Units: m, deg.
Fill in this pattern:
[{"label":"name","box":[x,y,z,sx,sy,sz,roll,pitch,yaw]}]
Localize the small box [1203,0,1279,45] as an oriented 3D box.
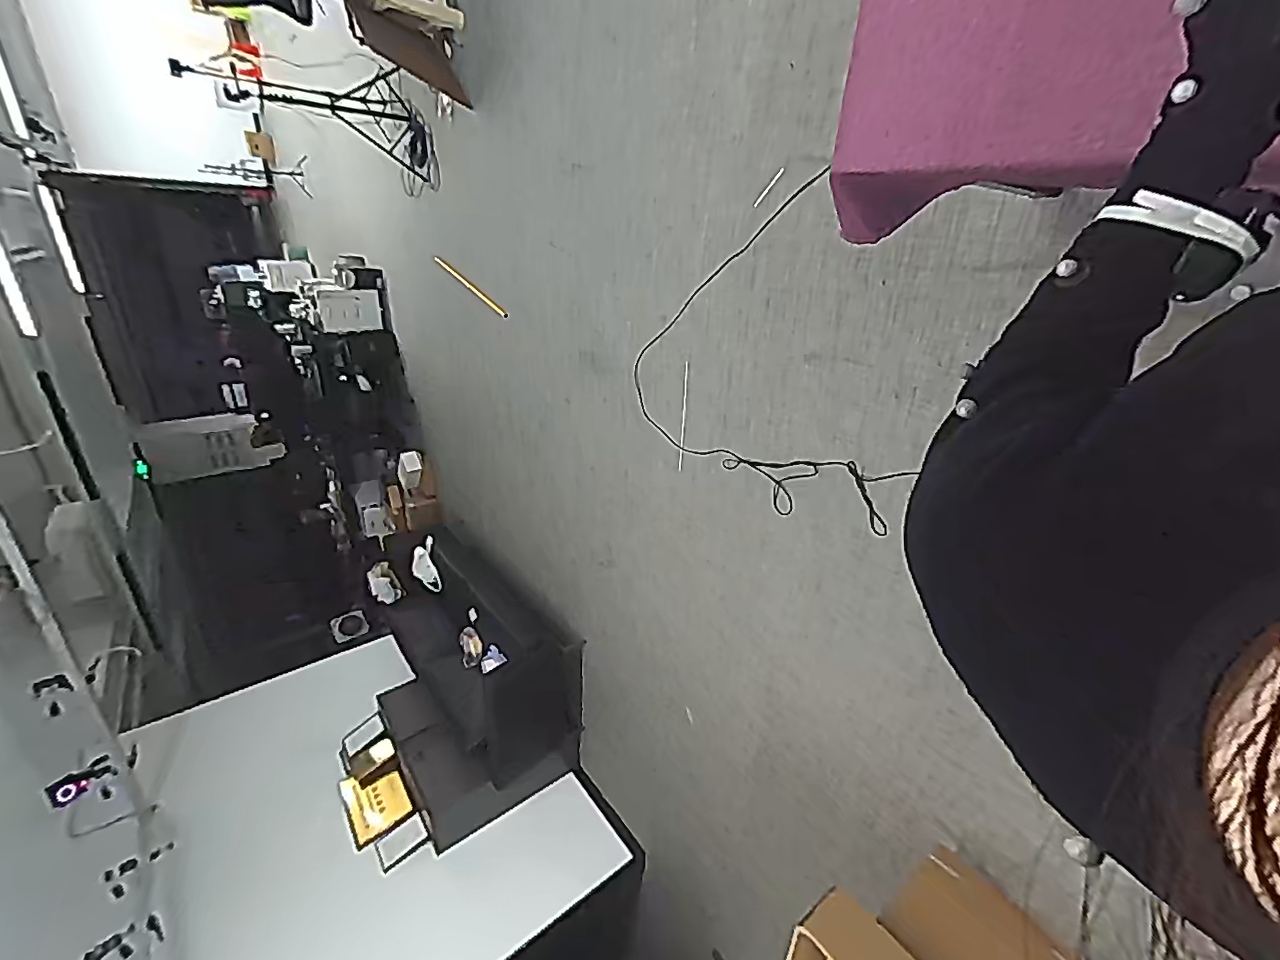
[{"label":"small box","box":[0.524,-0.440,0.367,0.168,0.176,0.179,29,124,46]}]
